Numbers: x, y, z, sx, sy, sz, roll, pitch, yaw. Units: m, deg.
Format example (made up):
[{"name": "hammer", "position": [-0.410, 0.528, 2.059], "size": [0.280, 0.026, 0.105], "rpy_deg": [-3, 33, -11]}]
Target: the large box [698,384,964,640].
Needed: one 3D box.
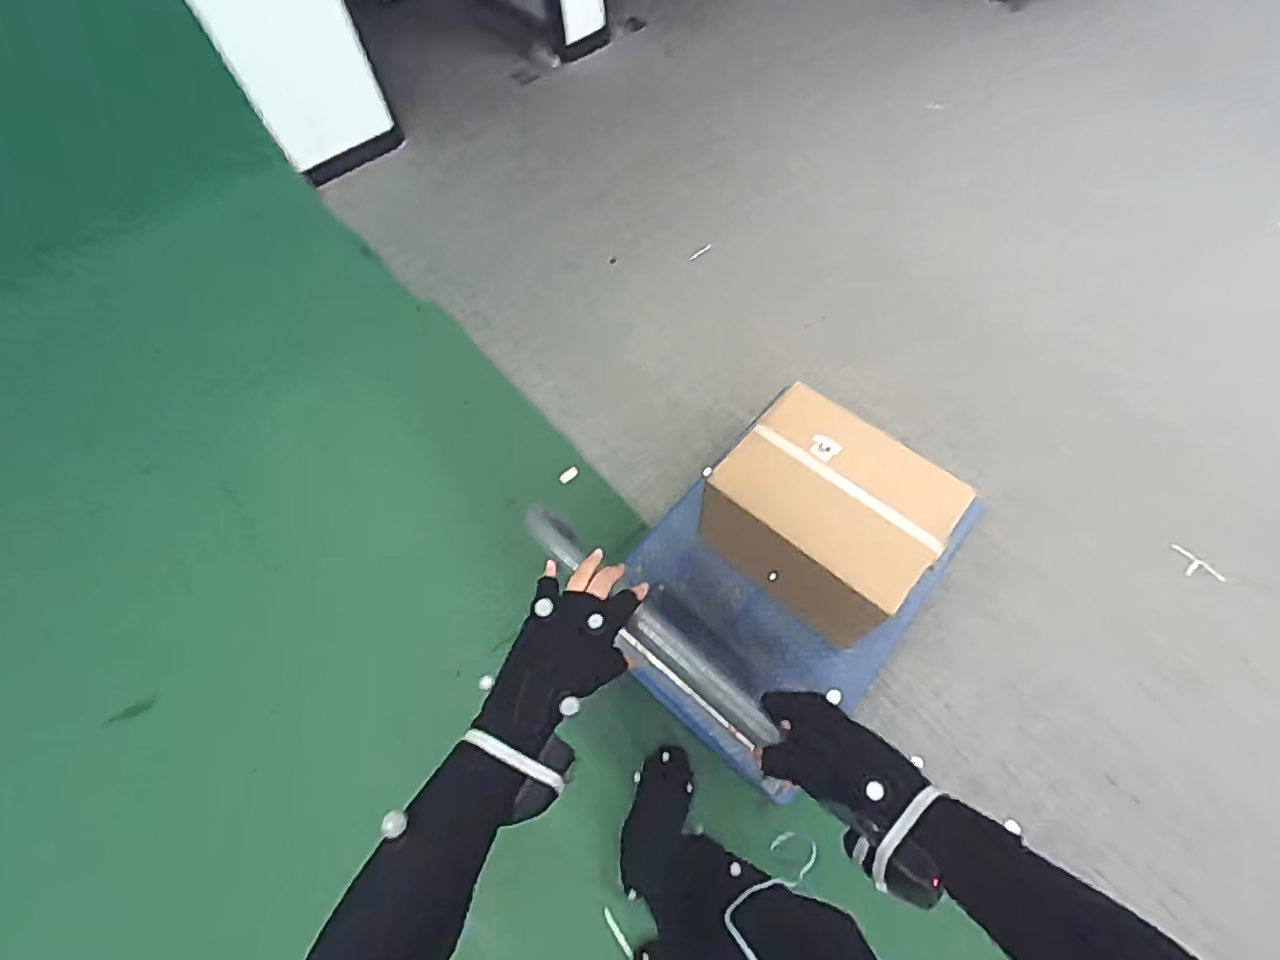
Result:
[{"name": "large box", "position": [0.376, 0.076, 1.168], "size": [0.408, 0.320, 0.320], "rpy_deg": [37, 69, 21]}]
